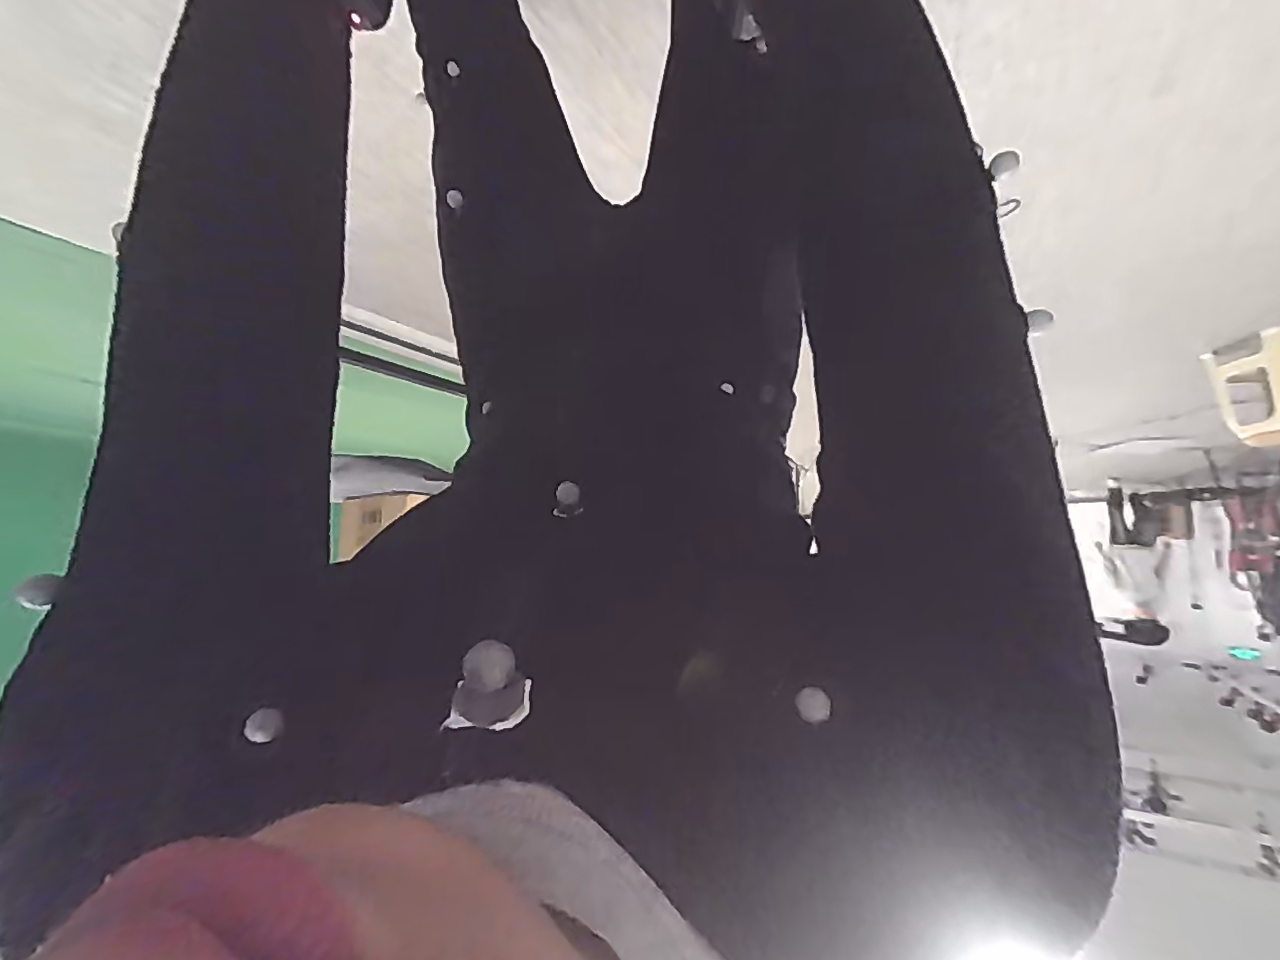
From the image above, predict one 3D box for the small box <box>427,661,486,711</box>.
[{"bbox_3d":[-0.763,0.848,2.237,0.179,0.176,0.168,-11,166,32],"label":"small box"}]
